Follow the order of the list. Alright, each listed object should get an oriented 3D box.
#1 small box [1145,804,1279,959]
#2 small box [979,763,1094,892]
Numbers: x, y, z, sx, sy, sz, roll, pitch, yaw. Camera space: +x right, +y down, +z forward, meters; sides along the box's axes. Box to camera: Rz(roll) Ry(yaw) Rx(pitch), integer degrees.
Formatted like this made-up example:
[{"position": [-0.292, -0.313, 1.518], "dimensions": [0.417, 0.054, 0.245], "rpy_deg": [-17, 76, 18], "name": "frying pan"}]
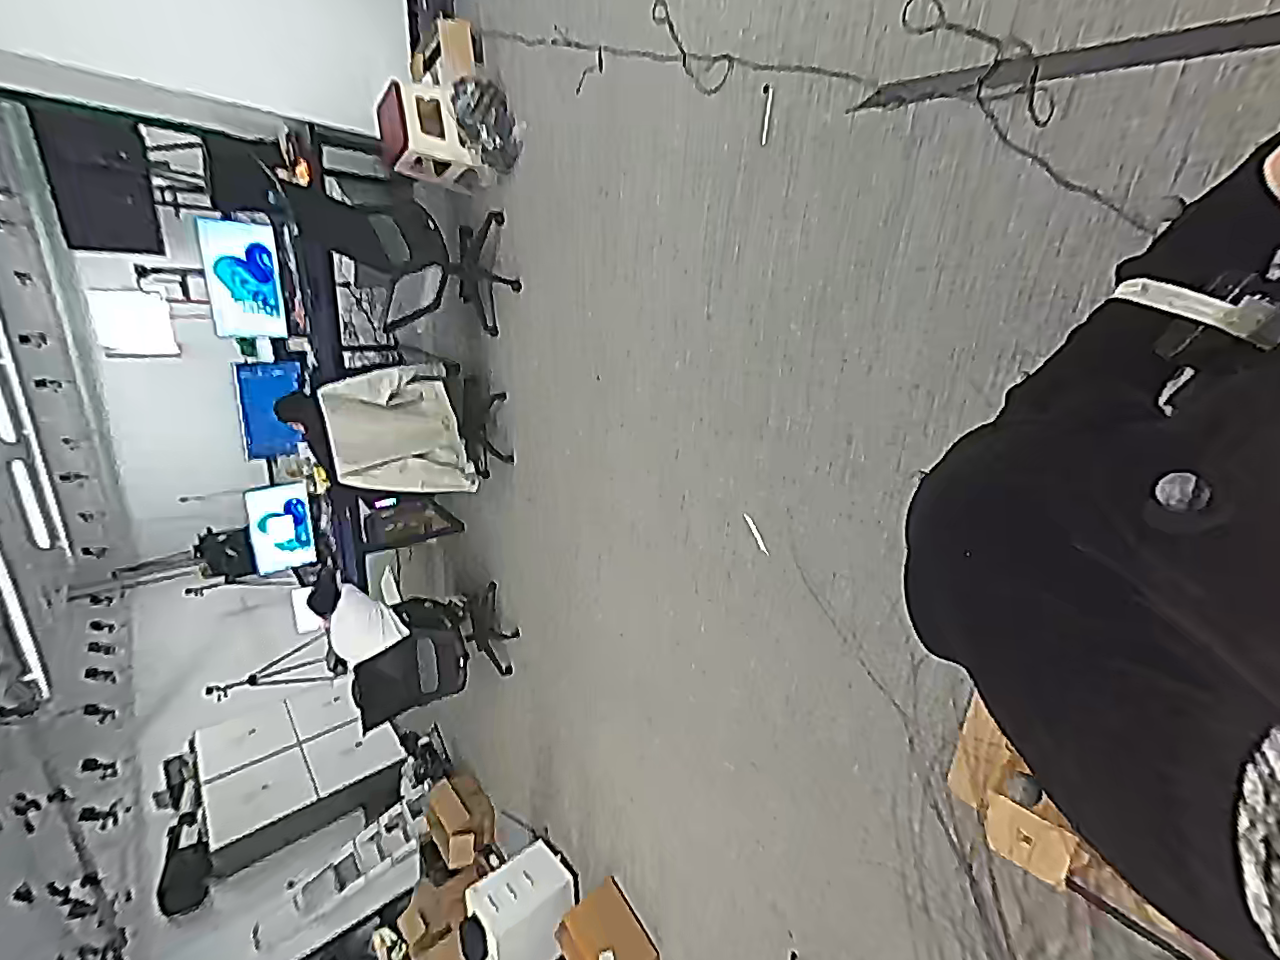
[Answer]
[{"position": [1.167, 0.801, 1.078], "dimensions": [0.179, 0.176, 0.168], "rpy_deg": [32, 123, 38], "name": "small box"}, {"position": [0.969, 0.832, 1.321], "dimensions": [0.179, 0.176, 0.168], "rpy_deg": [17, 114, 46], "name": "small box"}]
